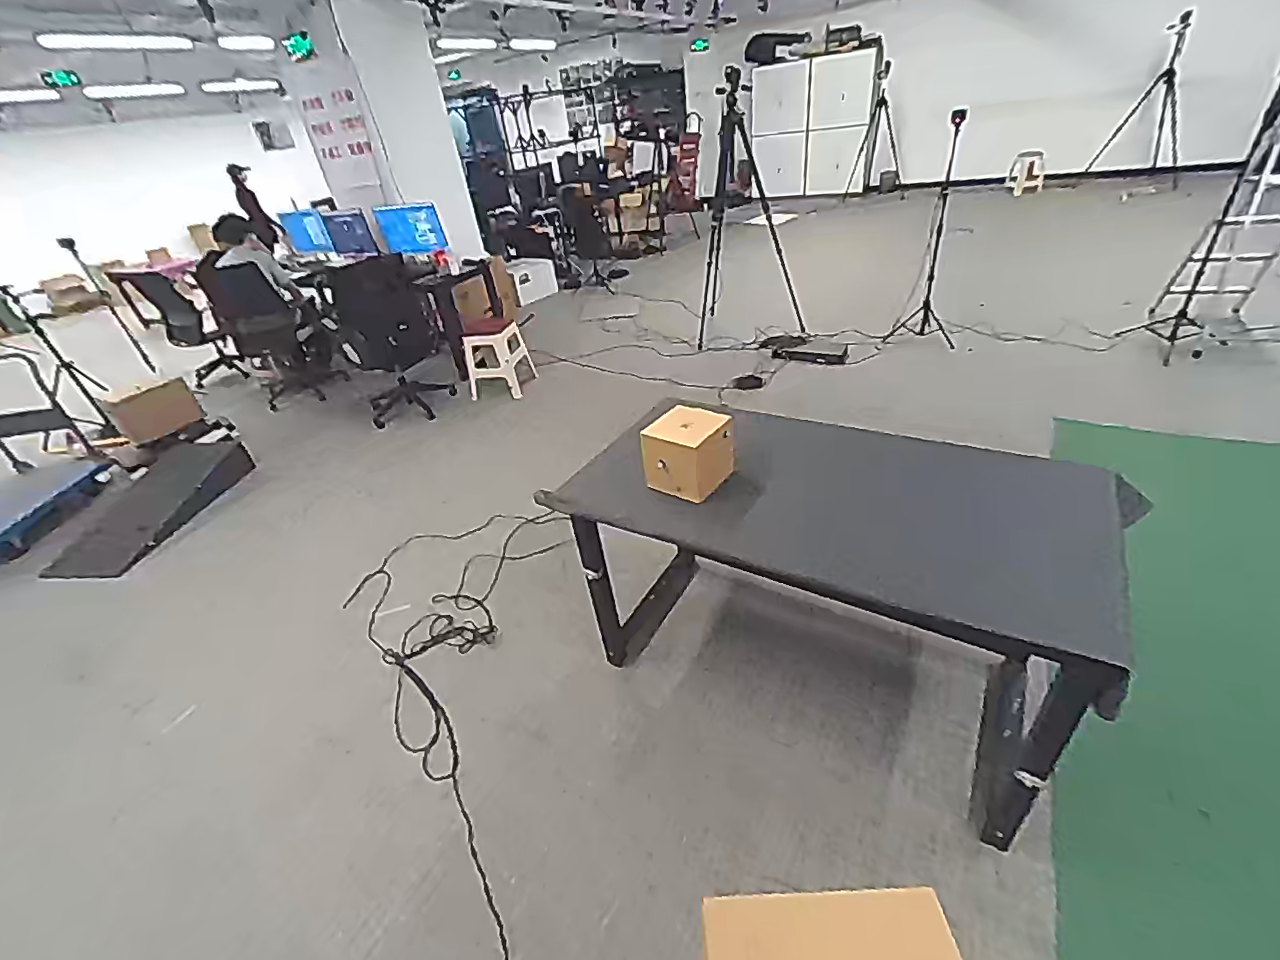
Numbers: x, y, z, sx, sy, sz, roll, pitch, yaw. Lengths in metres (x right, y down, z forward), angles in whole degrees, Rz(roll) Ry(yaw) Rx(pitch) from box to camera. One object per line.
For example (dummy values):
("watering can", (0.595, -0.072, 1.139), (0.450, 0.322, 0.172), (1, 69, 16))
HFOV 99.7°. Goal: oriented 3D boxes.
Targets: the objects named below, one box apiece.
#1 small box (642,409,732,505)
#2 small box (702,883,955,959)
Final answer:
("small box", (0.128, -0.060, 1.391), (0.168, 0.176, 0.179), (18, 40, 34))
("small box", (0.130, 0.409, 0.363), (0.168, 0.176, 0.179), (-4, 33, 2))
